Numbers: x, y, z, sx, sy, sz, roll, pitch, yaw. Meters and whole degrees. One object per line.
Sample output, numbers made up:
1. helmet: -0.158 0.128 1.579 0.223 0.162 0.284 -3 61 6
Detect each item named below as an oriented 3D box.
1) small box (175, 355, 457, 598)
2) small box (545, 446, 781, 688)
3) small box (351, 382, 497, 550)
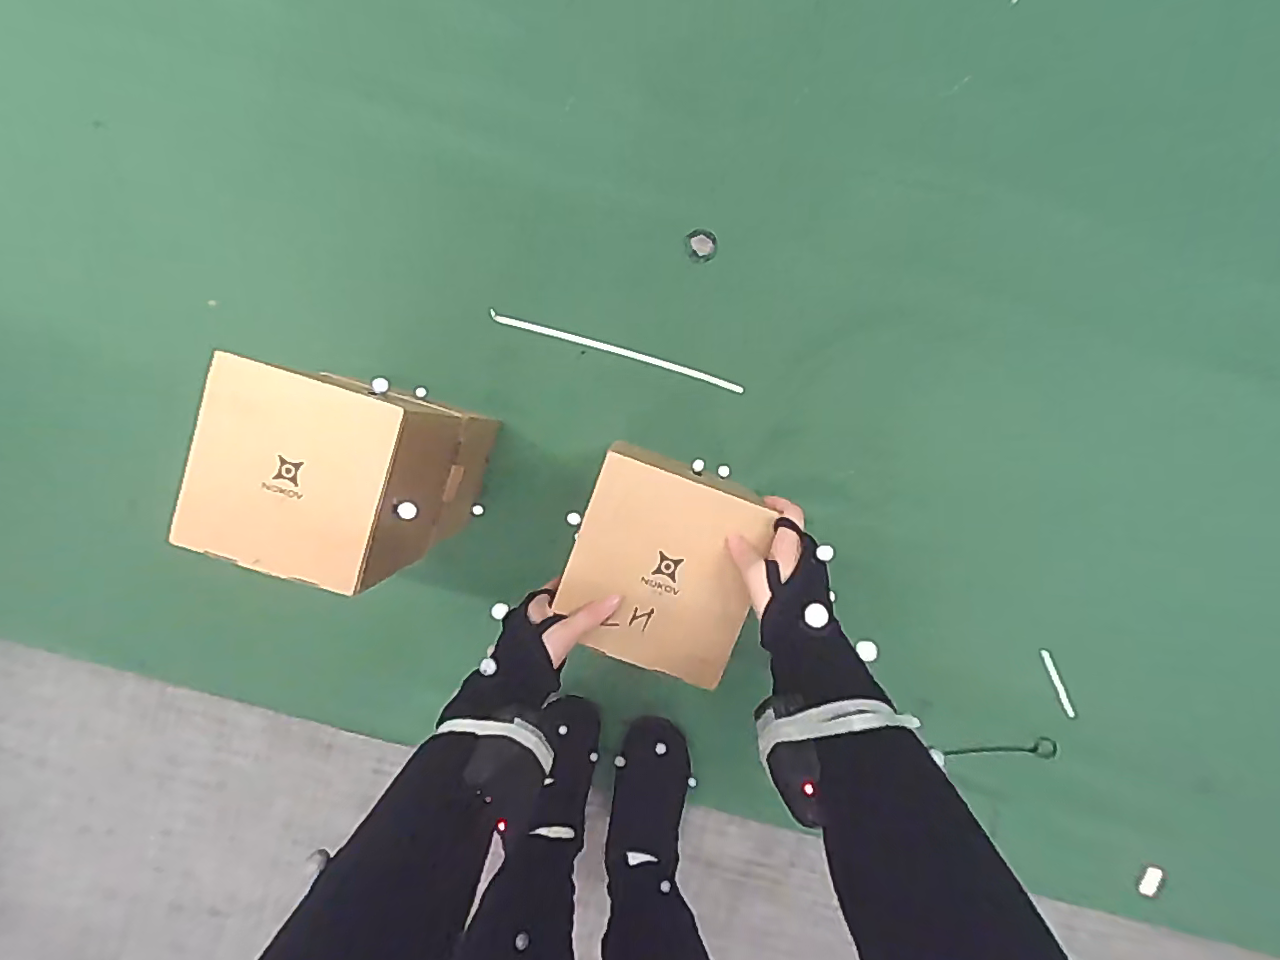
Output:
1. small box: -0.304 -0.008 0.548 0.168 0.176 0.179 17 95 -2
2. small box: 0.018 0.072 0.556 0.168 0.176 0.179 20 96 -2
3. small box: -0.306 -0.026 0.711 0.179 0.176 0.168 17 95 -1
